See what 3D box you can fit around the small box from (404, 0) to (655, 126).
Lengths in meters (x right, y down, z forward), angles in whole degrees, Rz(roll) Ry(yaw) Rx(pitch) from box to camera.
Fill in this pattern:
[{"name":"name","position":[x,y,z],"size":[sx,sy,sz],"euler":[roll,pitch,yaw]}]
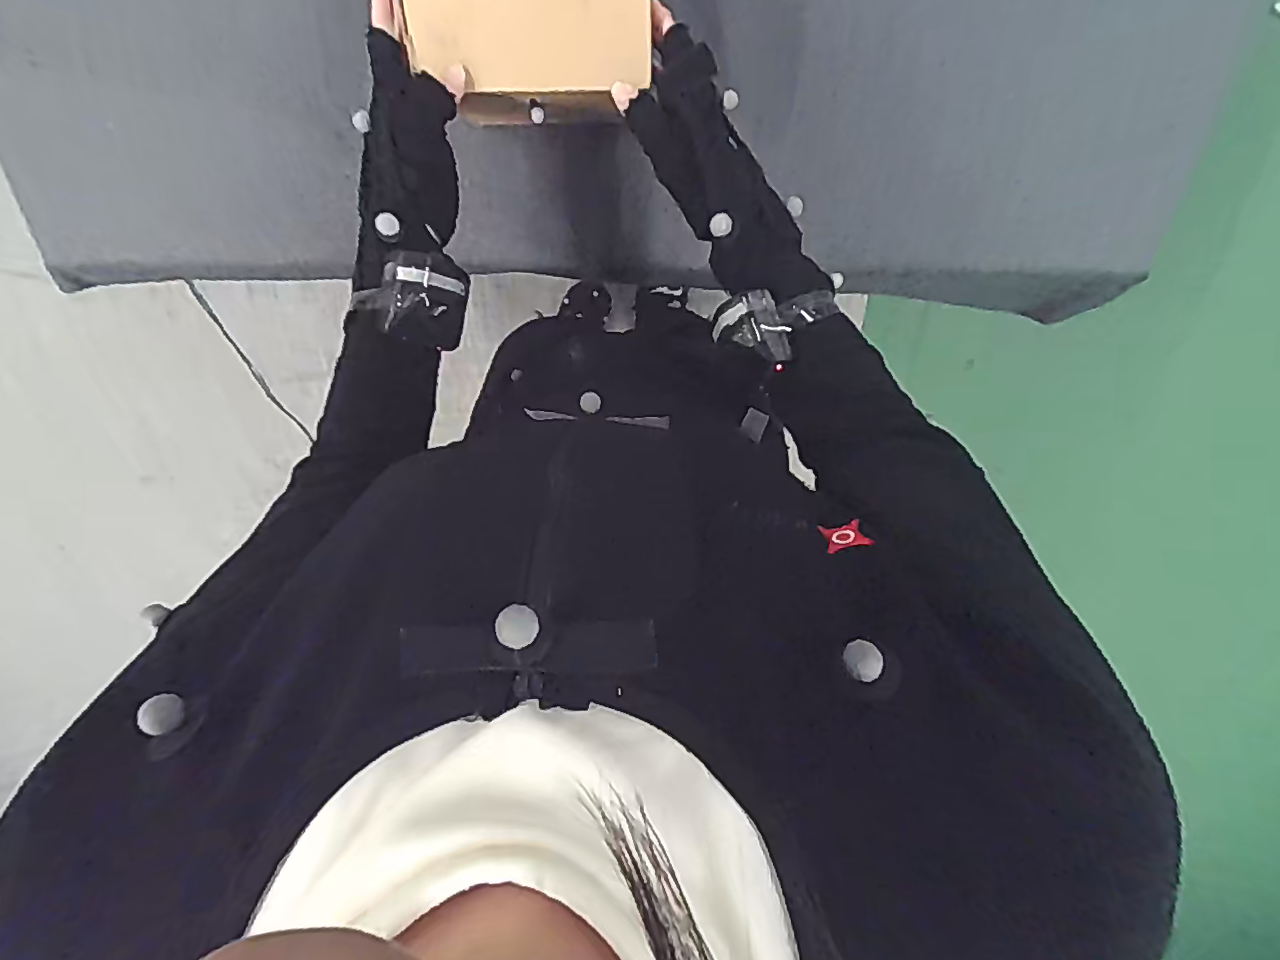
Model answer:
[{"name":"small box","position":[-0.076,-0.392,0.433],"size":[0.179,0.176,0.168],"euler":[-1,118,1]}]
